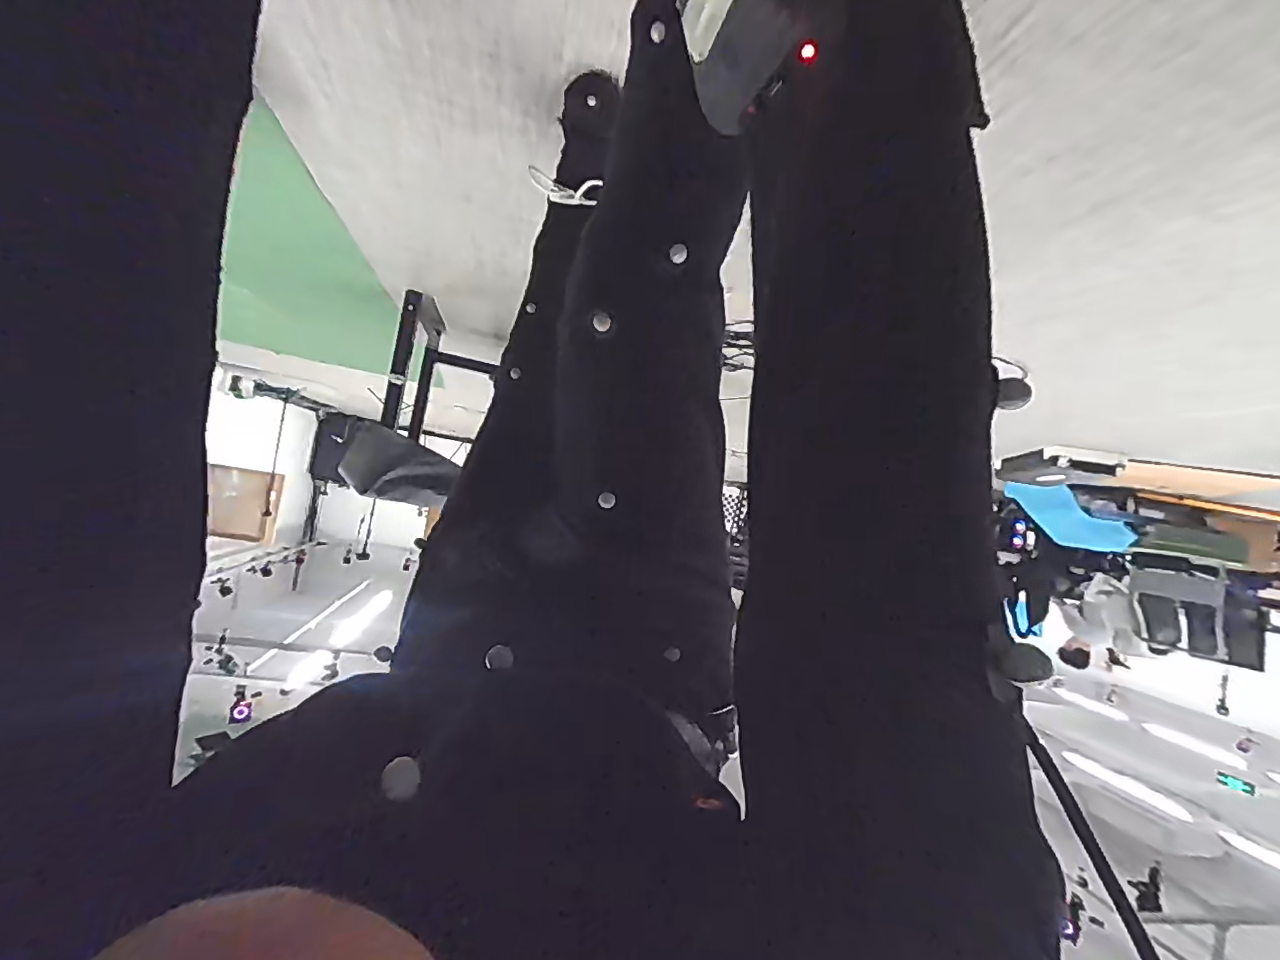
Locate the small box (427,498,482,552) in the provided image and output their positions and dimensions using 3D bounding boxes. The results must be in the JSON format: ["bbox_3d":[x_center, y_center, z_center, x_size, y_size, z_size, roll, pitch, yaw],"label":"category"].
[{"bbox_3d":[-0.704,0.169,2.066,0.179,0.176,0.168,11,179,-16],"label":"small box"}]
